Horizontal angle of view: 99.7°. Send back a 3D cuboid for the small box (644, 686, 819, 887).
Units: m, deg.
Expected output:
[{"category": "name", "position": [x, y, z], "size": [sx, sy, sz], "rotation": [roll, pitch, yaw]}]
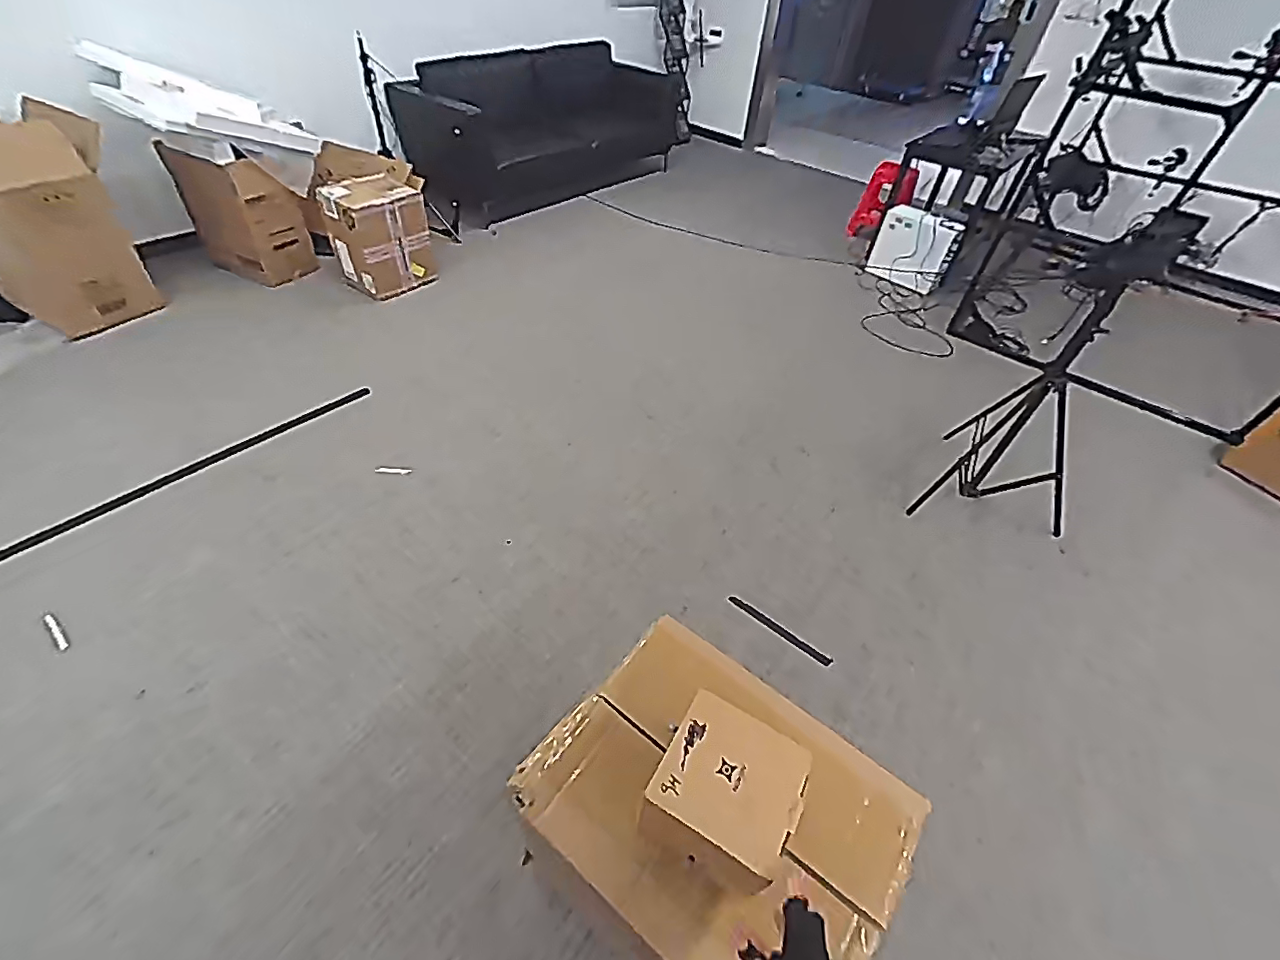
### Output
[{"category": "small box", "position": [0.120, 0.430, 0.755], "size": [0.179, 0.176, 0.168], "rotation": [25, 50, 18]}]
